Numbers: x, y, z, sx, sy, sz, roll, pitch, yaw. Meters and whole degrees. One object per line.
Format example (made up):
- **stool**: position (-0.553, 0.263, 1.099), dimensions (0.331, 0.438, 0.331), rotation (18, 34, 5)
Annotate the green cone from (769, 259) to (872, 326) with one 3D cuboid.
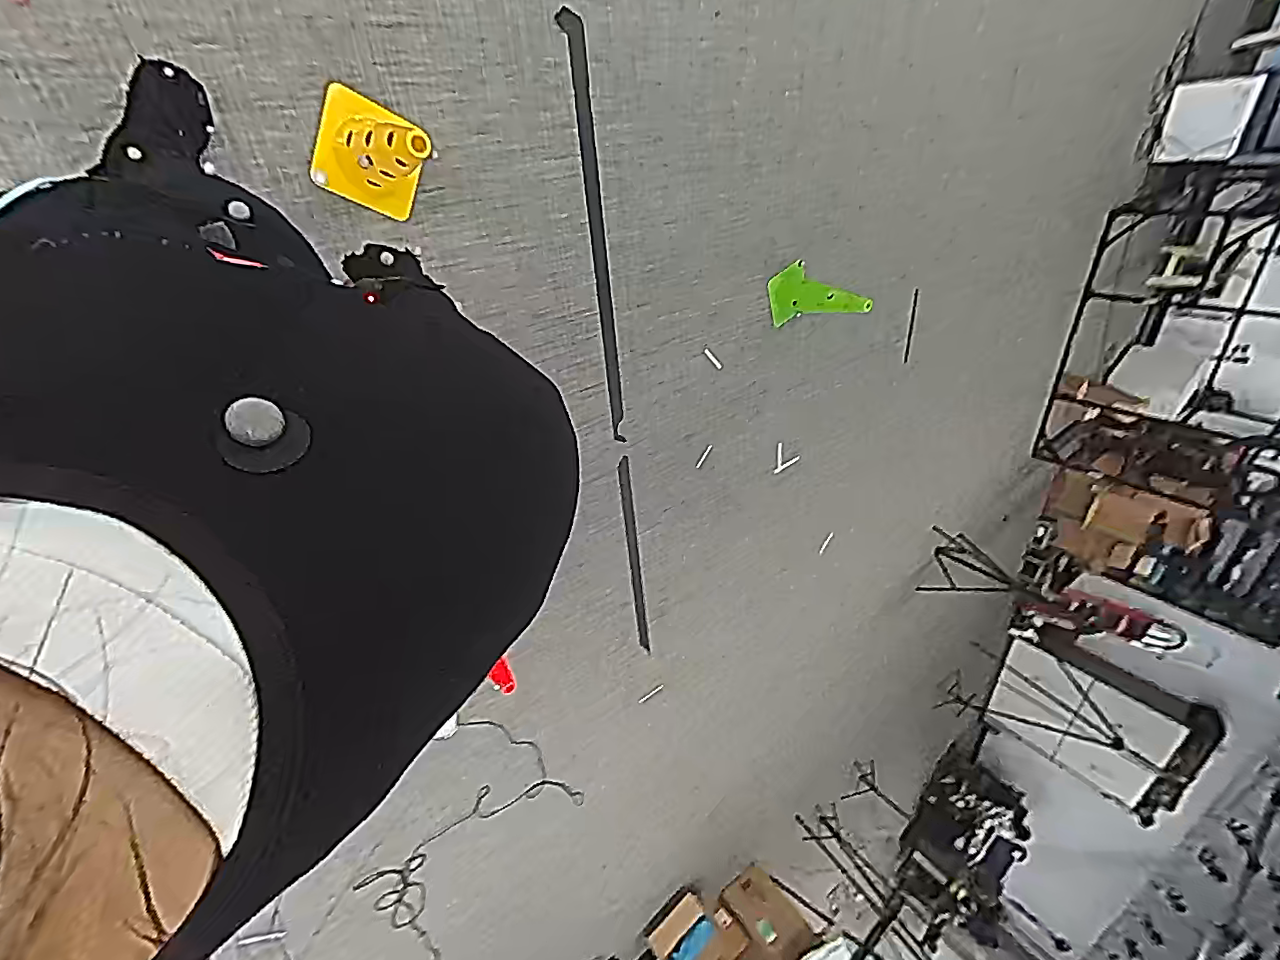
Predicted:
- **green cone**: position (0.680, -0.666, 1.990), dimensions (0.200, 0.368, 0.202), rotation (-39, 133, -18)
